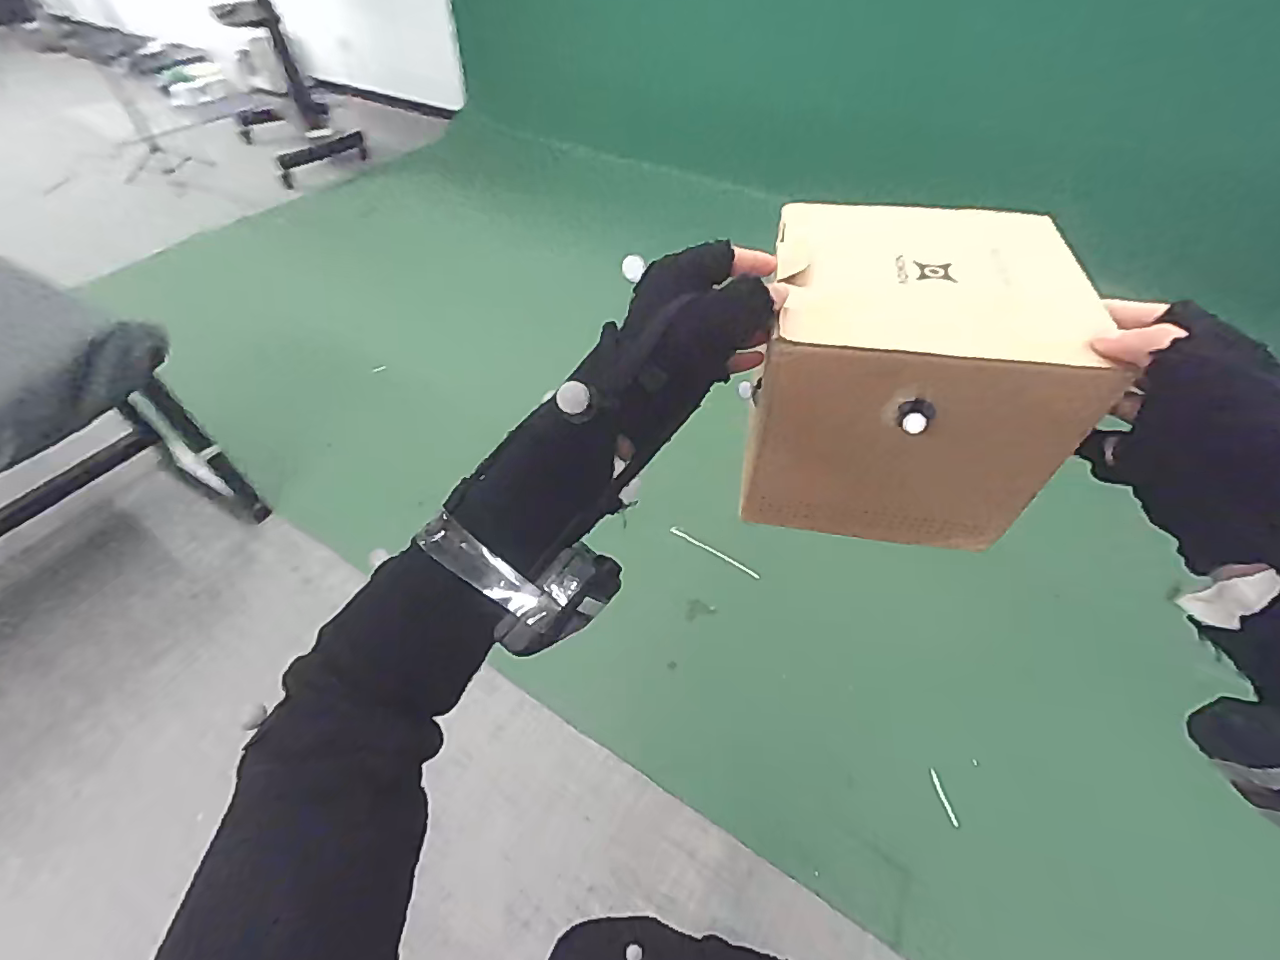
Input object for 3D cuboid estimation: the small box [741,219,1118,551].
[{"bbox_3d":[0.172,-0.066,0.393,0.179,0.176,0.168,7,51,7],"label":"small box"}]
